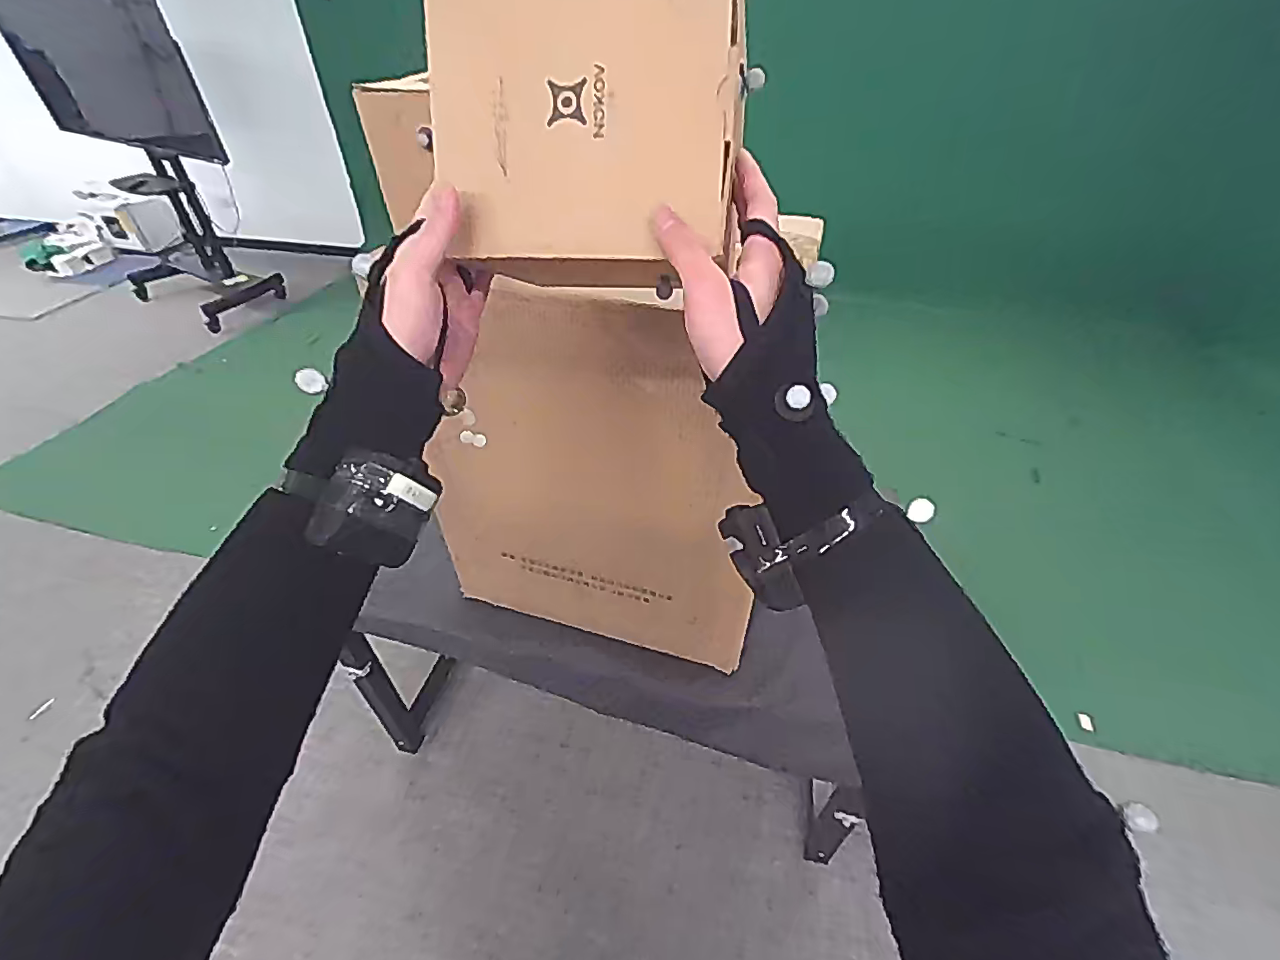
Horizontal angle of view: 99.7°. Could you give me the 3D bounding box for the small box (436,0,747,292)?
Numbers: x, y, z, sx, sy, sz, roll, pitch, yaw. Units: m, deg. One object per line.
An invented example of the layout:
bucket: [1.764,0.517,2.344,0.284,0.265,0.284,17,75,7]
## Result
small box: [-0.018,-0.232,0.386,0.179,0.168,0.176,5,13,13]

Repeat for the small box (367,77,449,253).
small box: [-0.182,-0.384,0.660,0.179,0.176,0.168,11,46,15]
